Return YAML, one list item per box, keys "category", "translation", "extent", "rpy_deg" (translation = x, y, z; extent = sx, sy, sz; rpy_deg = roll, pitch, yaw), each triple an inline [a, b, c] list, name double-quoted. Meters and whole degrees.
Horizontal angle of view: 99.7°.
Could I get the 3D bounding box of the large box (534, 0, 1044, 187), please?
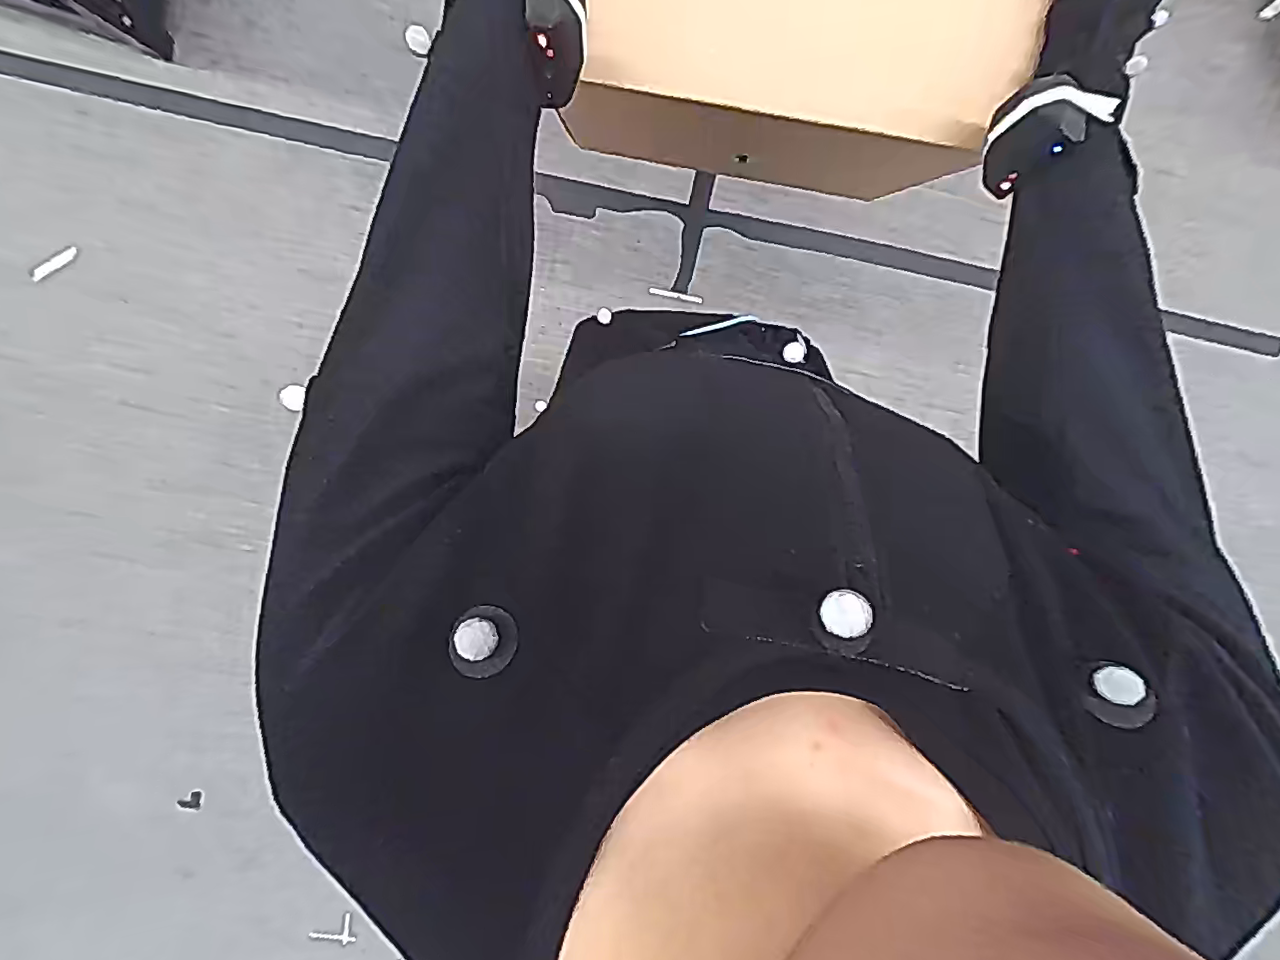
- category: "large box"
  translation: [0.136, -0.508, 0.536]
  extent: [0.408, 0.320, 0.320]
  rpy_deg: [10, 110, -2]
